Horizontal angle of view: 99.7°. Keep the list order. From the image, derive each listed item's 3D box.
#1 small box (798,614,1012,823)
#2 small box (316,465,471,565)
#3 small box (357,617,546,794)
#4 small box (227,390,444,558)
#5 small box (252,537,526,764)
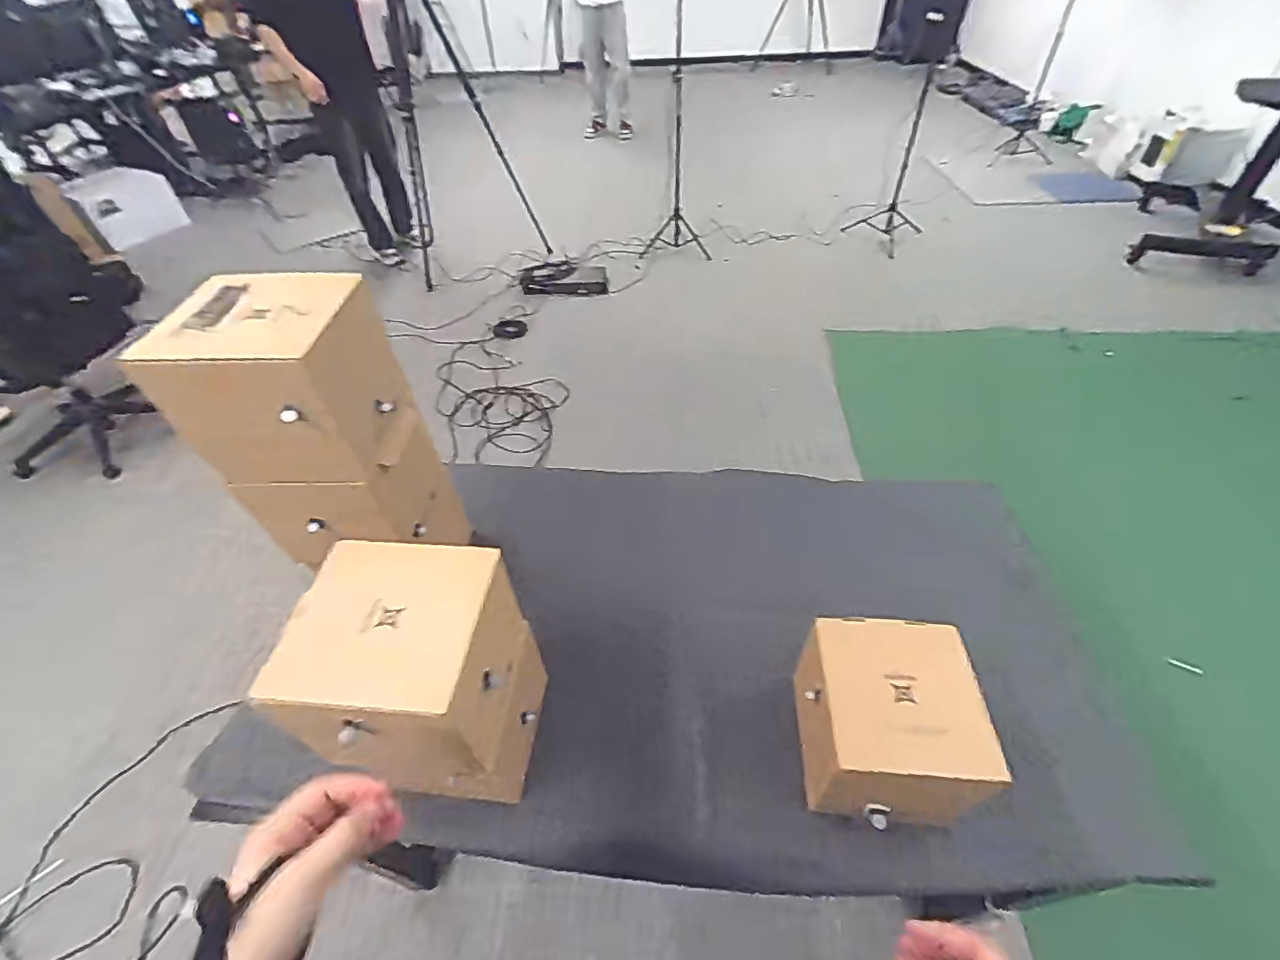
[{"bbox_3d":[0.293,0.284,0.648,0.168,0.176,0.179,1,46,5],"label":"small box"},{"bbox_3d":[-0.384,0.095,0.867,0.168,0.176,0.179,-1,47,2],"label":"small box"},{"bbox_3d":[-0.228,0.279,0.682,0.179,0.176,0.168,3,46,6],"label":"small box"},{"bbox_3d":[-0.390,-0.005,0.736,0.179,0.176,0.168,-1,48,3],"label":"small box"},{"bbox_3d":[-0.228,0.177,0.555,0.179,0.176,0.168,2,47,5],"label":"small box"}]
